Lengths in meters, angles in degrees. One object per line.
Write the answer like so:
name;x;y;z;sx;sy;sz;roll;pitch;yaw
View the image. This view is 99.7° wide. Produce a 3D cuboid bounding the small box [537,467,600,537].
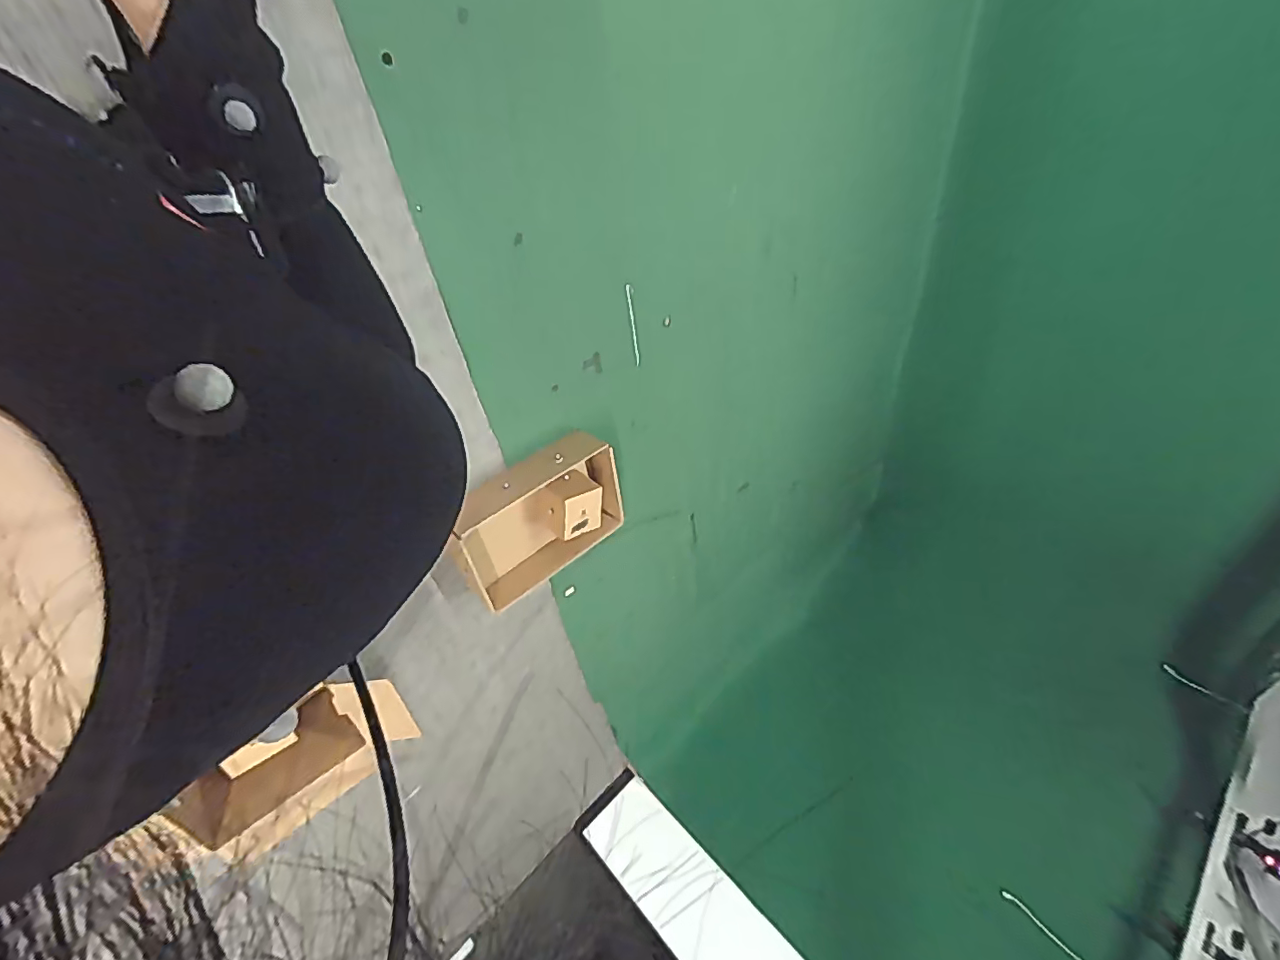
small box;-0.267;0.076;1.983;0.168;0.176;0.179;-21;129;-38
